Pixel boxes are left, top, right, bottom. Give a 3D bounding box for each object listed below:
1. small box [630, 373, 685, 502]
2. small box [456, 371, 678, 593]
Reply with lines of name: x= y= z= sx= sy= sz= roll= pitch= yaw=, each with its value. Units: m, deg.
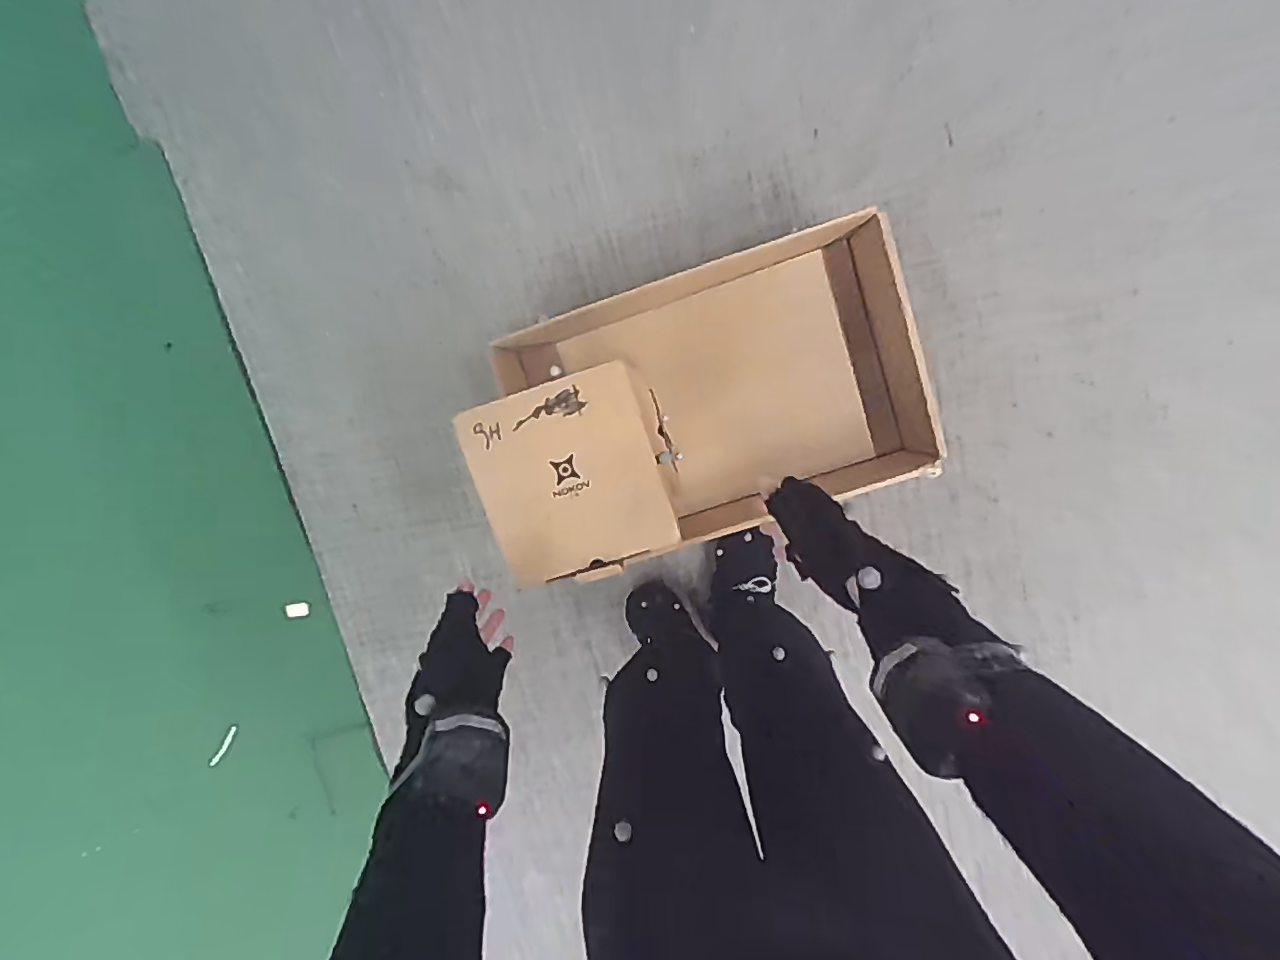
small box: x=-0.047 y=-0.042 z=0.735 sx=0.179 sy=0.176 sz=0.168 roll=-17 pitch=98 yaw=6
small box: x=-0.061 y=-0.009 z=0.576 sx=0.168 sy=0.176 sz=0.179 roll=-18 pitch=99 yaw=6
